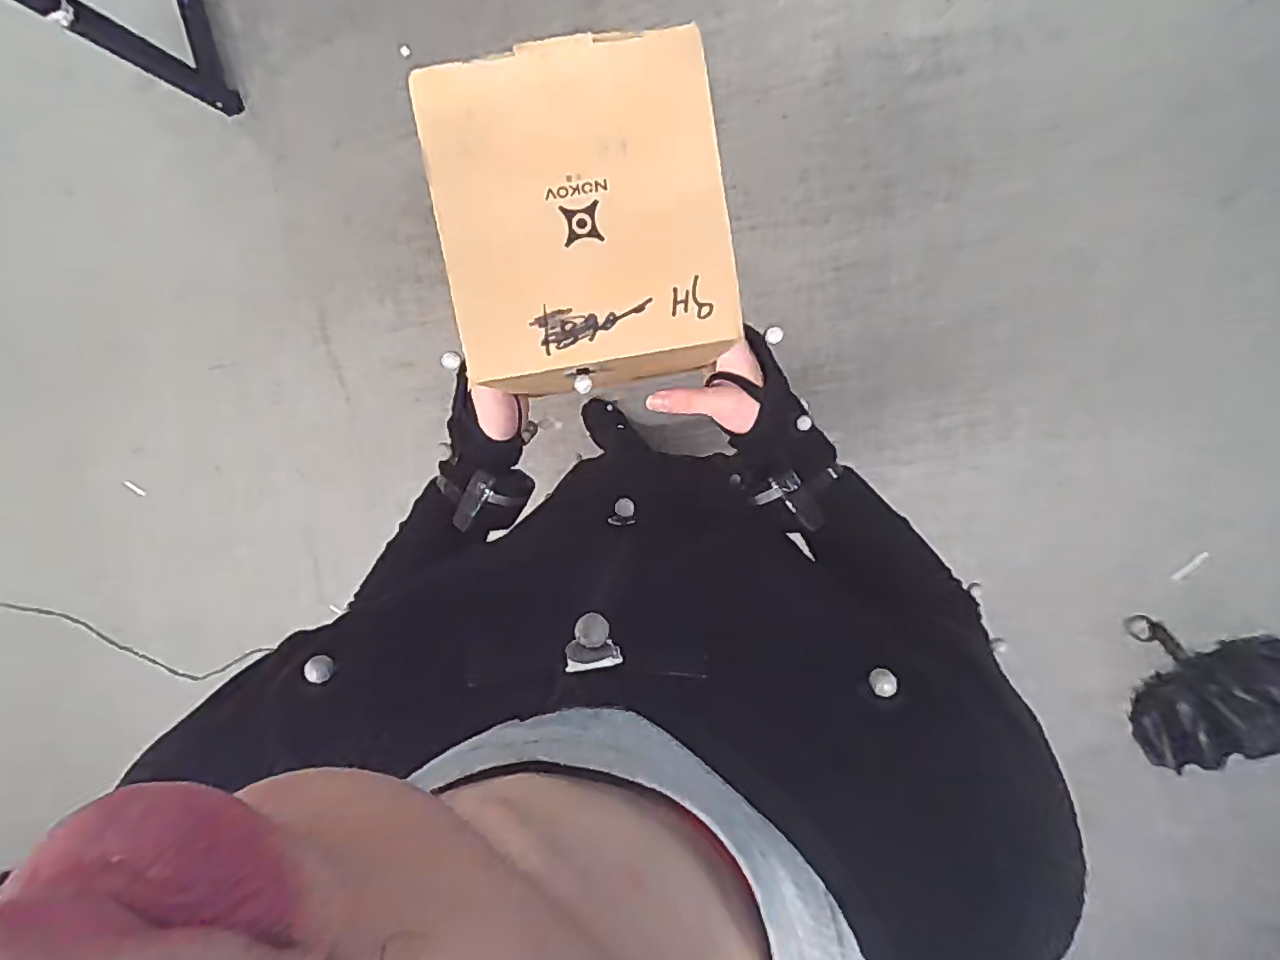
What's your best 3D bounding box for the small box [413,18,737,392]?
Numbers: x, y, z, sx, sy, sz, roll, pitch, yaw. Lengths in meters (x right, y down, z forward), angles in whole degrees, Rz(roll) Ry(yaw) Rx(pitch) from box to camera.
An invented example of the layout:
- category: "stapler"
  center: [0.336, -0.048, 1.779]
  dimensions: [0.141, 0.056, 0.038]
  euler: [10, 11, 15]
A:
- category: "small box"
  center: [-0.035, -0.167, 0.387]
  dimensions: [0.168, 0.176, 0.179]
  euler: [-9, 95, 2]
